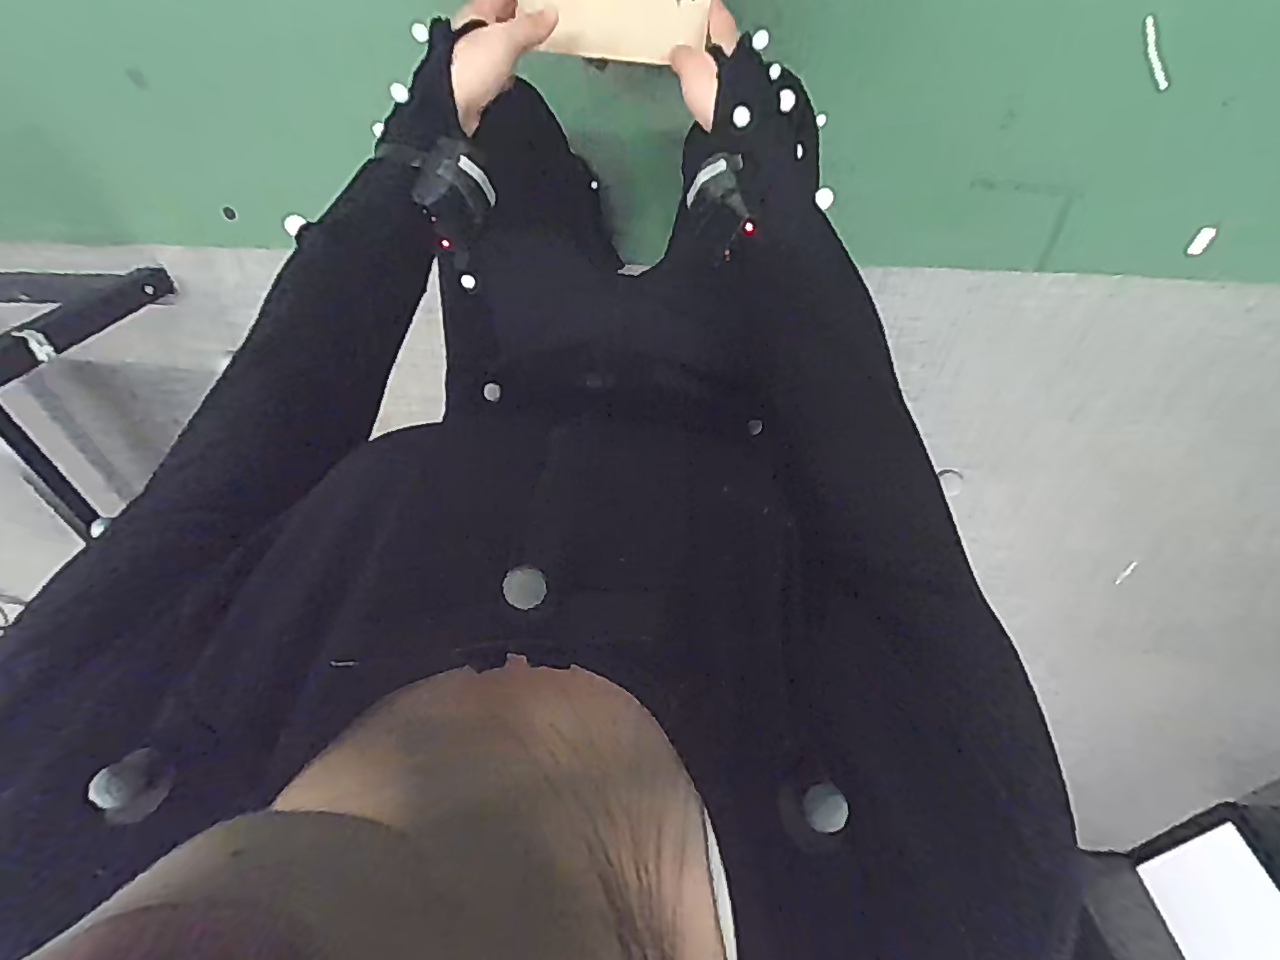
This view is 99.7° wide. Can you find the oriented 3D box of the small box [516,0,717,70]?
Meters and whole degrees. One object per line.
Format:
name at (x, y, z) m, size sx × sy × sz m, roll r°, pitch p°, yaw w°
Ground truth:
small box at (-0.013, -0.496, 0.502) m, size 0.179 × 0.176 × 0.168 m, roll 5°, pitch 130°, yaw -2°
